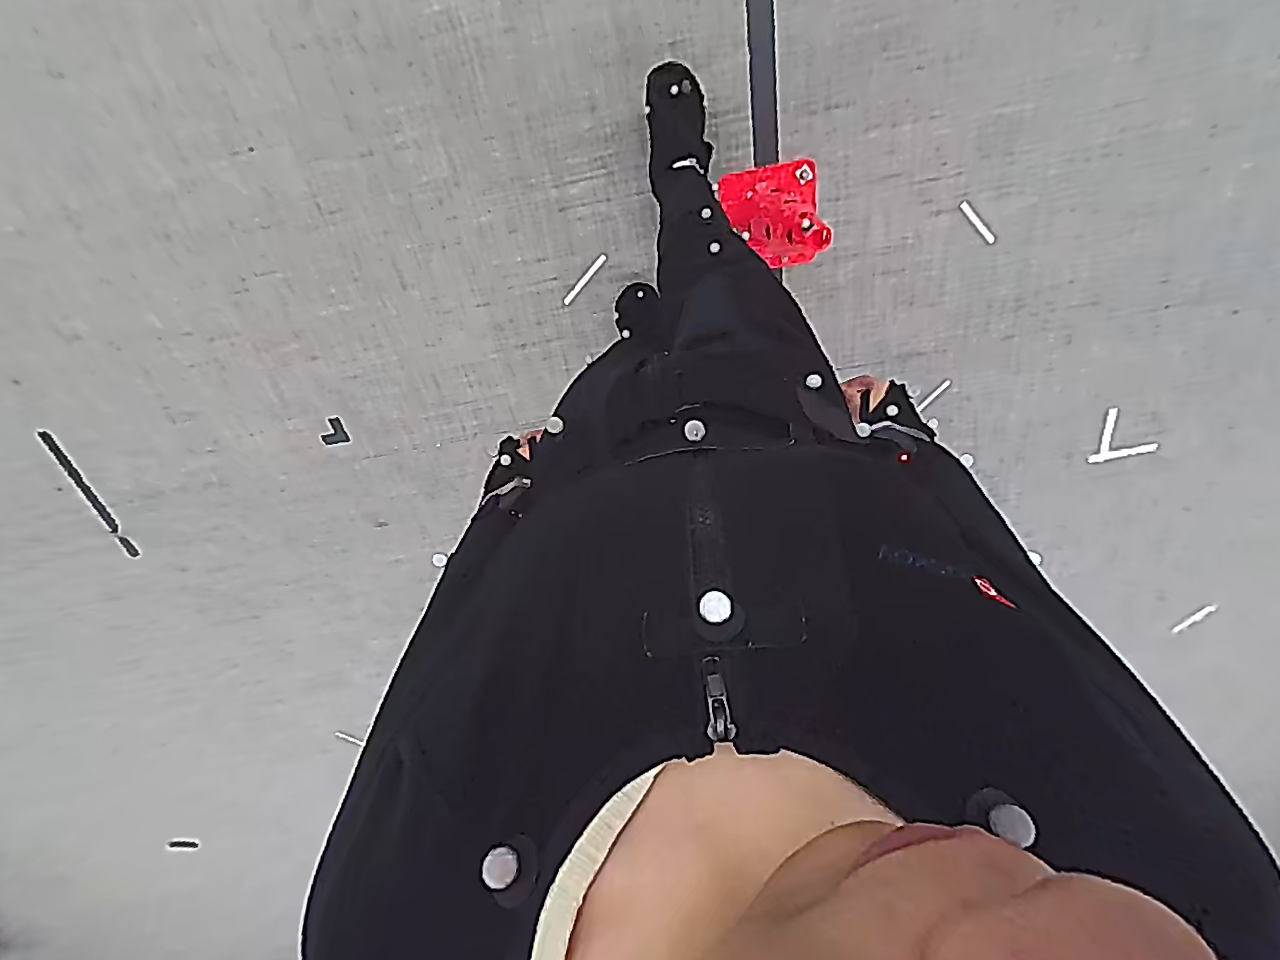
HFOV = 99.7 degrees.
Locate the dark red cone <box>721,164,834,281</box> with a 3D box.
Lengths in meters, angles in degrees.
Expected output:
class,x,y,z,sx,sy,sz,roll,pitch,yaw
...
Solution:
class,x,y,z,sx,sy,sz,roll,pitch,yaw
dark red cone,0.275,-0.448,0.981,0.201,0.394,0.202,-9,120,5
